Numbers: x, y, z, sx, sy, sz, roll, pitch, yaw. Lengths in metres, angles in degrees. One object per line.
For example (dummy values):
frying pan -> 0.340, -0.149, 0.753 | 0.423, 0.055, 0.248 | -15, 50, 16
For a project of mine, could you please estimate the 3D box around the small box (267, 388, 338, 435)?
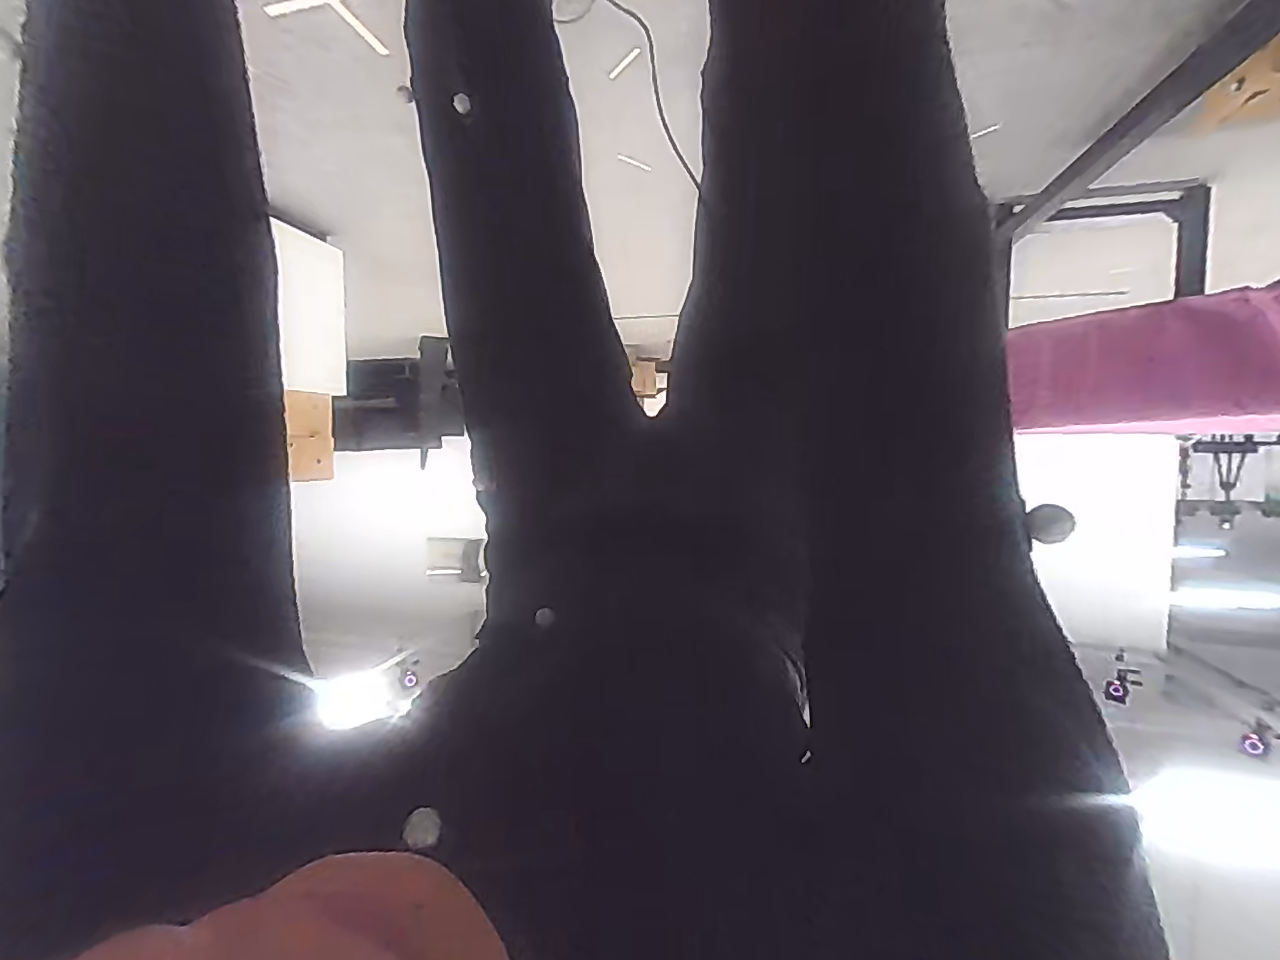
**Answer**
small box -> -1.287, -0.260, 2.069 | 0.179, 0.176, 0.168 | 2, -175, 12

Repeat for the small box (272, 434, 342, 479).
small box -> -1.284, -0.095, 2.082 | 0.168, 0.176, 0.179 | 3, -175, 12
